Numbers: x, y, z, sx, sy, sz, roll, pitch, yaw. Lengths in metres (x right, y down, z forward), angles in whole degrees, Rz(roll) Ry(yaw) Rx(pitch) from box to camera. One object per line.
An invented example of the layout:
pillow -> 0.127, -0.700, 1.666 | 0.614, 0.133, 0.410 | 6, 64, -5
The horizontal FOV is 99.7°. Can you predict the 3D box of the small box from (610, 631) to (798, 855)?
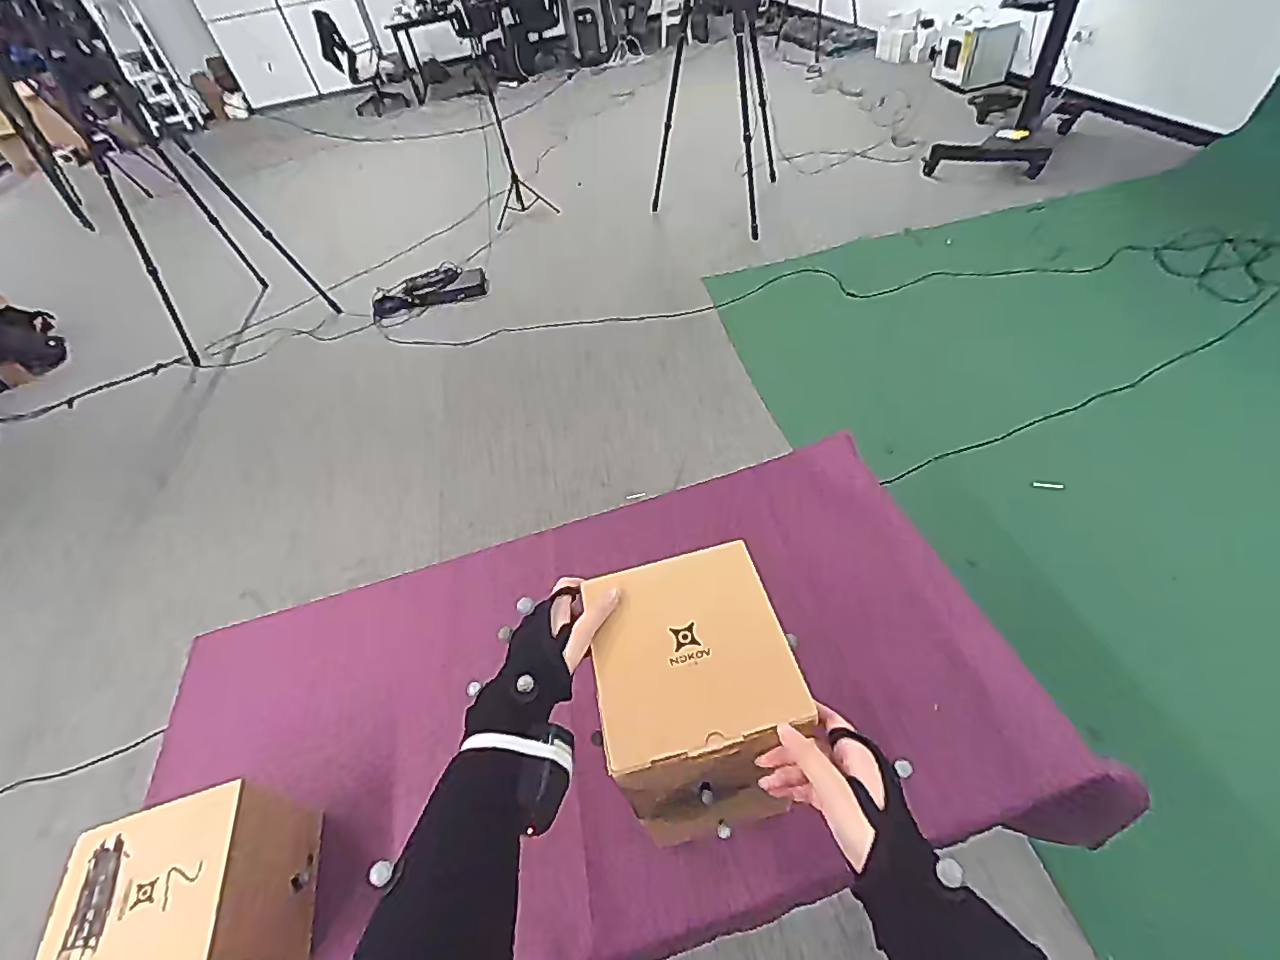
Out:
small box -> 0.069, 0.311, 0.638 | 0.168, 0.176, 0.179 | -15, 48, -2
